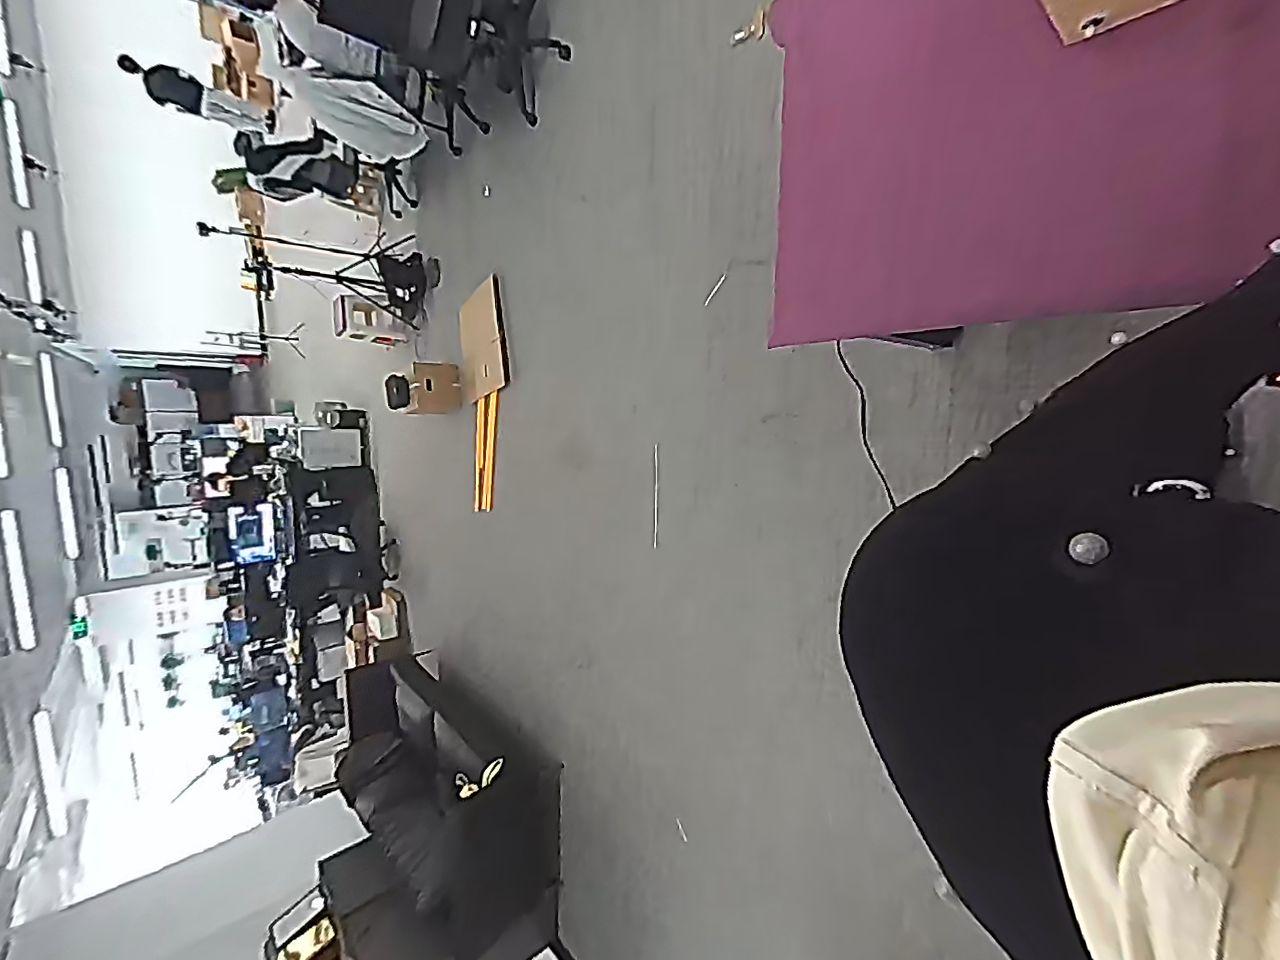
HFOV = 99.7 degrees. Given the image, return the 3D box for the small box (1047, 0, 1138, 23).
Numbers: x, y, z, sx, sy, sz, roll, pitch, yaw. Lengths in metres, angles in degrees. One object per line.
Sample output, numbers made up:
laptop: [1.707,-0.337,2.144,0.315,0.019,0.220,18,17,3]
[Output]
small box: [0.546,-0.646,0.582,0.168,0.176,0.179,8,100,47]
